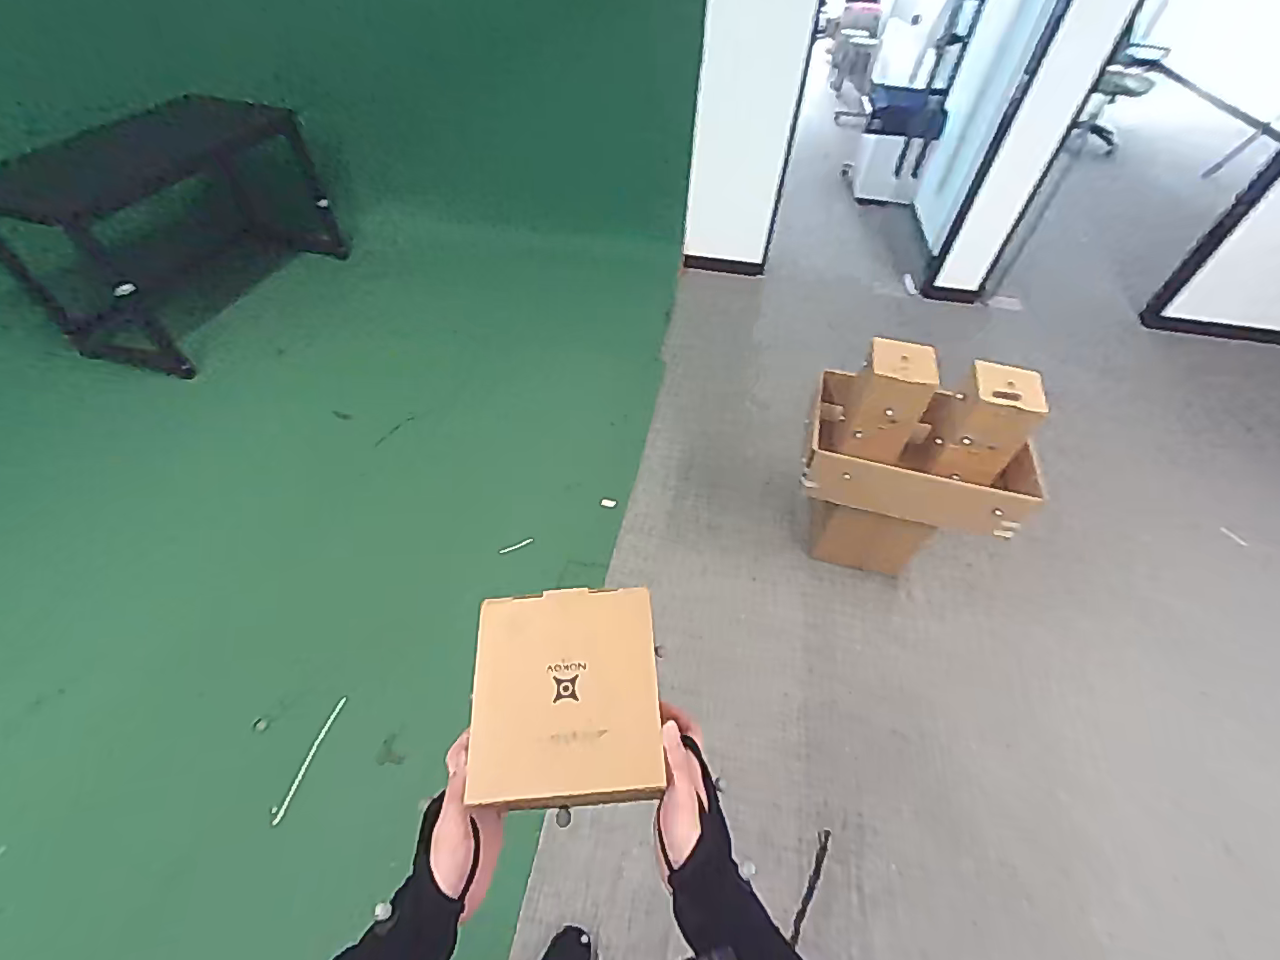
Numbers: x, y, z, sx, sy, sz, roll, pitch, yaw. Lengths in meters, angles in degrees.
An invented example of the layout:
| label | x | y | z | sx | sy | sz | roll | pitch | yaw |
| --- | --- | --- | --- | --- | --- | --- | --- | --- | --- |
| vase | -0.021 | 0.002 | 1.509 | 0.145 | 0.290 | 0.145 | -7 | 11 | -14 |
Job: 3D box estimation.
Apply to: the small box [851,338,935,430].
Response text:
| label | x | y | z | sx | sy | sz | roll | pitch | yaw |
| --- | --- | --- | --- | --- | --- | --- | --- | --- | --- |
| small box | 0.705 | -0.269 | 1.522 | 0.168 | 0.176 | 0.179 | 13 | 50 | 9 |

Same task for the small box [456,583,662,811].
| label | x | y | z | sx | sy | sz | roll | pitch | yaw |
| --- | --- | --- | --- | --- | --- | --- | --- | --- | --- |
| small box | -0.068 | 0.220 | 0.540 | 0.168 | 0.176 | 0.179 | -3 | 56 | -1 |

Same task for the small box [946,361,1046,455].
| label | x | y | z | sx | sy | sz | roll | pitch | yaw |
| --- | --- | --- | --- | --- | --- | --- | --- | --- | --- |
| small box | 0.956 | -0.193 | 1.470 | 0.168 | 0.176 | 0.179 | 15 | 50 | 10 |
